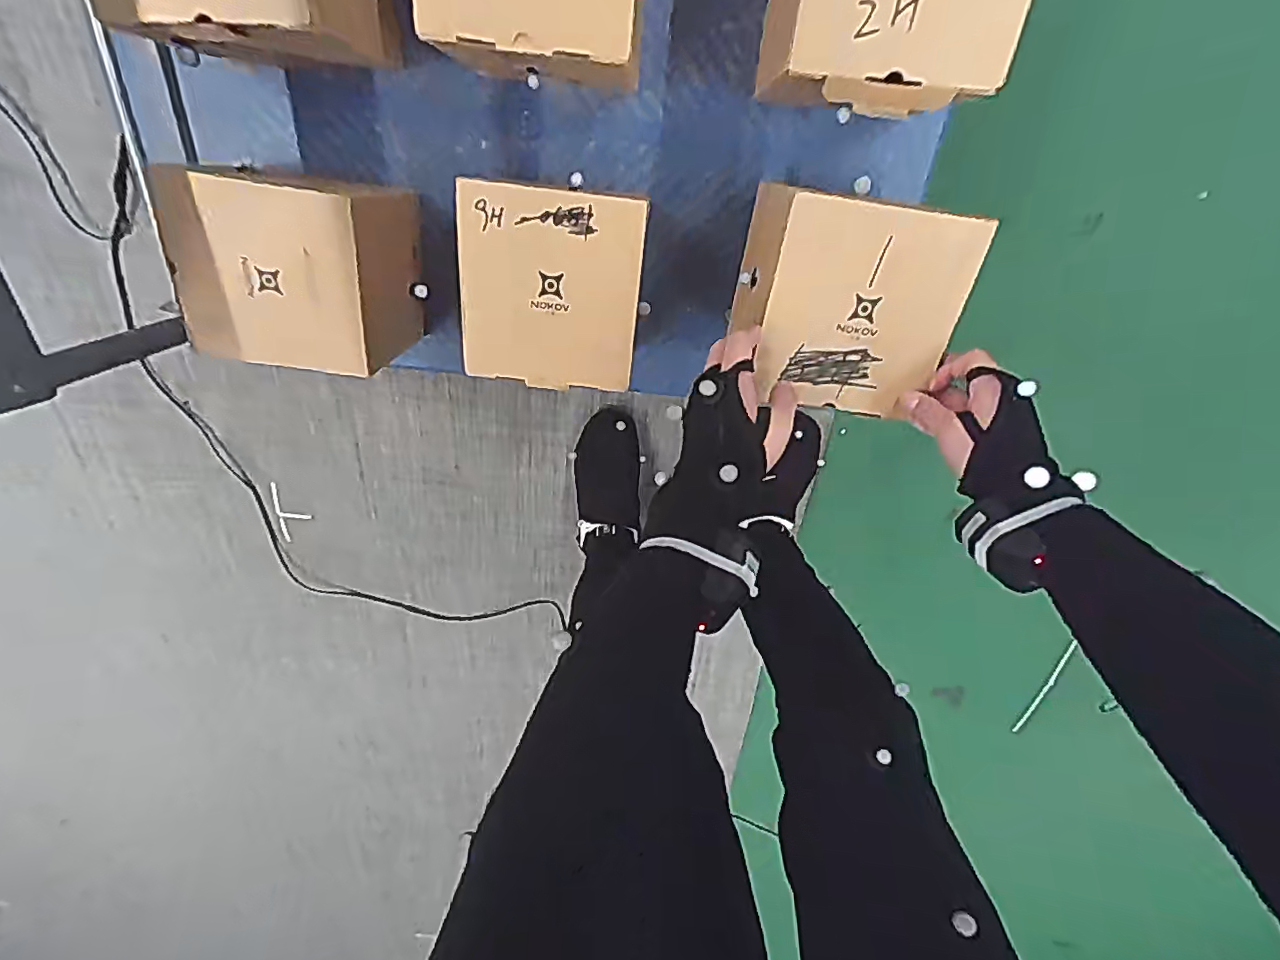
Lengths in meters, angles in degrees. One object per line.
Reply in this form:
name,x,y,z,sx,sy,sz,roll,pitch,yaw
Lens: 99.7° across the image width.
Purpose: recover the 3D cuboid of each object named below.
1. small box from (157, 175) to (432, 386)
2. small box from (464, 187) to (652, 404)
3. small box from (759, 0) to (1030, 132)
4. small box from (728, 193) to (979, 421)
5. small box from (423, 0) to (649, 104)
small box,-0.339,-0.214,0.573,0.179,0.176,0.168,7,119,-4
small box,-0.078,-0.201,0.573,0.168,0.176,0.179,7,119,-3
small box,0.205,-0.410,0.452,0.168,0.176,0.179,6,118,-1
small box,0.192,-0.182,0.553,0.168,0.176,0.179,7,120,-4
small box,-0.074,-0.435,0.448,0.168,0.176,0.179,6,120,-2
